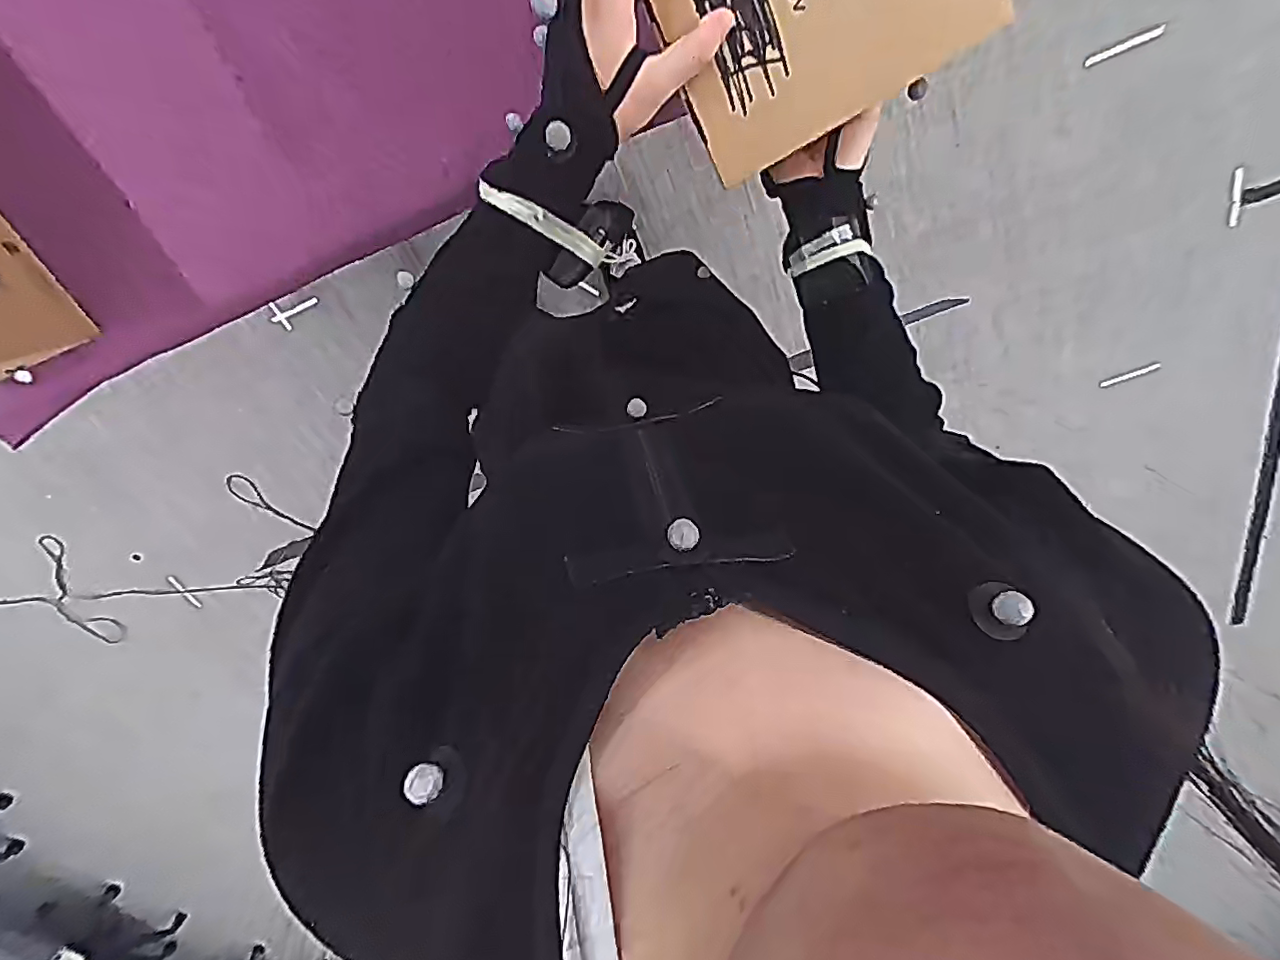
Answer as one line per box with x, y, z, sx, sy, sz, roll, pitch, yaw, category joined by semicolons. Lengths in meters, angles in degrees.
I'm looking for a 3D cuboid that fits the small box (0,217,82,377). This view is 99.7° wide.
-0.746;-0.178;0.549;0.179;0.176;0.168;-20;117;7;small box
